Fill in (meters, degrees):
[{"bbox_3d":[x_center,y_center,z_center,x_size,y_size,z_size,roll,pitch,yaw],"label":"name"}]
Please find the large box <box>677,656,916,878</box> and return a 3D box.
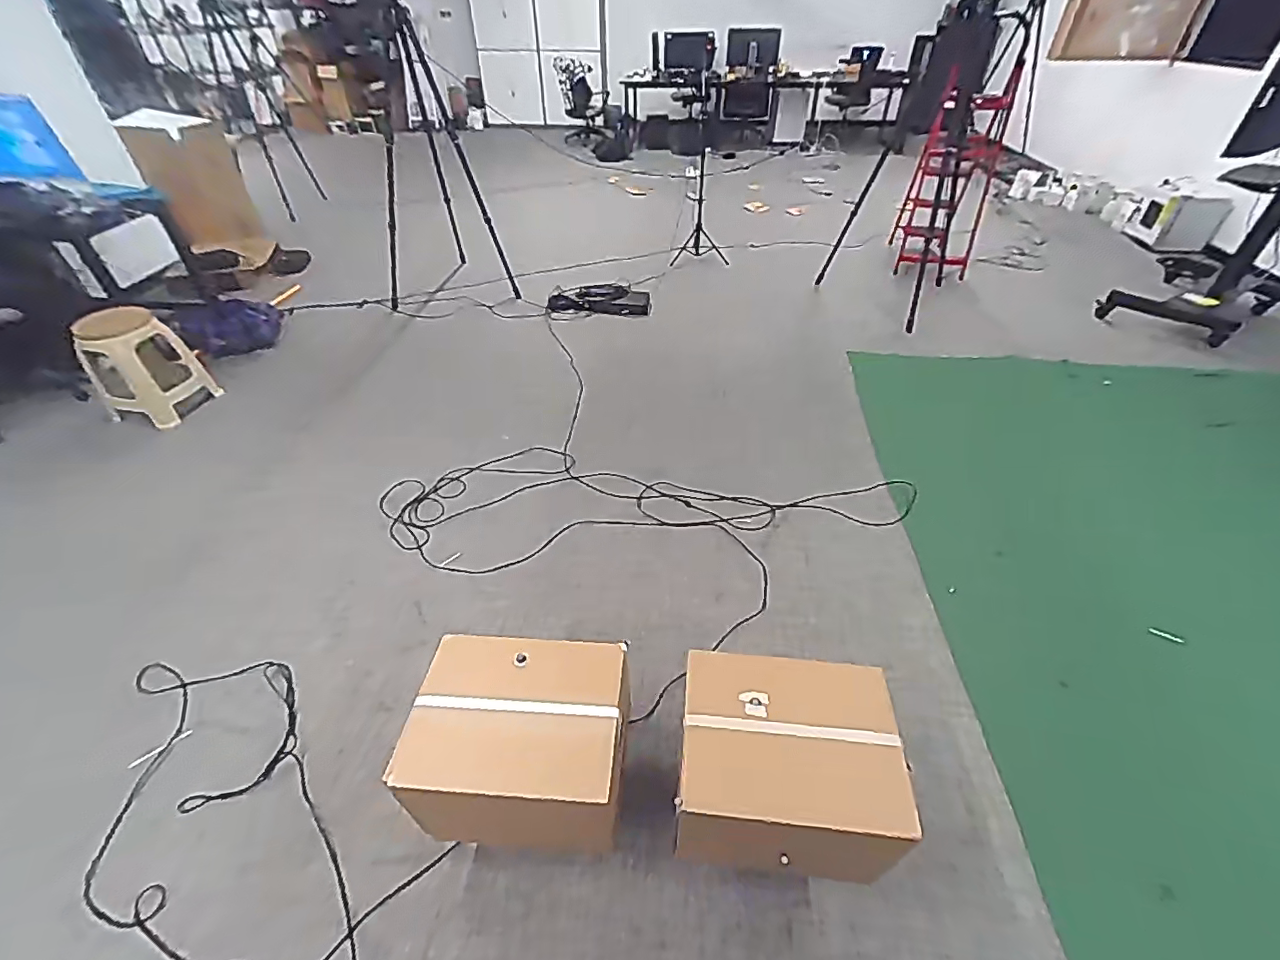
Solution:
[{"bbox_3d":[0.289,0.600,1.134,0.408,0.320,0.320,4,42,6],"label":"large box"}]
